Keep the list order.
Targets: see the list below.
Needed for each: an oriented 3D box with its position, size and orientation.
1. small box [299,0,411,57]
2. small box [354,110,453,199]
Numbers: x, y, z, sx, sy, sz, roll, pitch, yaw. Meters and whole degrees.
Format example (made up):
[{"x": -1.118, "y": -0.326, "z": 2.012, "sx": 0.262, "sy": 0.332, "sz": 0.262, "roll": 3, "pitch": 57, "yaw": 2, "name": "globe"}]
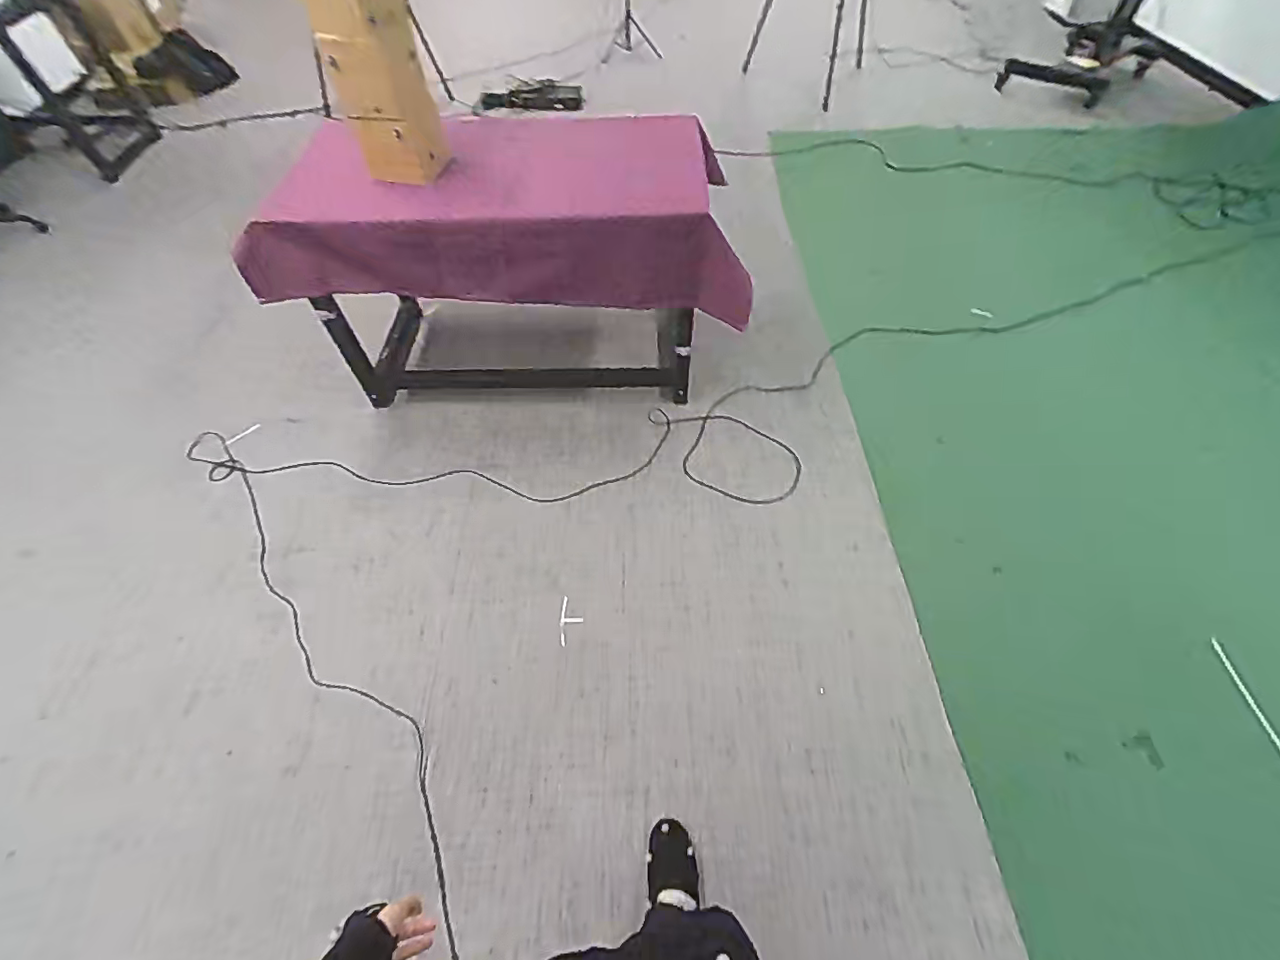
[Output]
[{"x": -0.681, "y": -1.136, "z": 1.288, "sx": 0.179, "sy": 0.176, "sz": 0.168, "roll": 14, "pitch": 54, "yaw": 12, "name": "small box"}, {"x": -0.665, "y": -0.926, "z": 1.541, "sx": 0.179, "sy": 0.176, "sz": 0.168, "roll": 9, "pitch": 54, "yaw": 7, "name": "small box"}]
